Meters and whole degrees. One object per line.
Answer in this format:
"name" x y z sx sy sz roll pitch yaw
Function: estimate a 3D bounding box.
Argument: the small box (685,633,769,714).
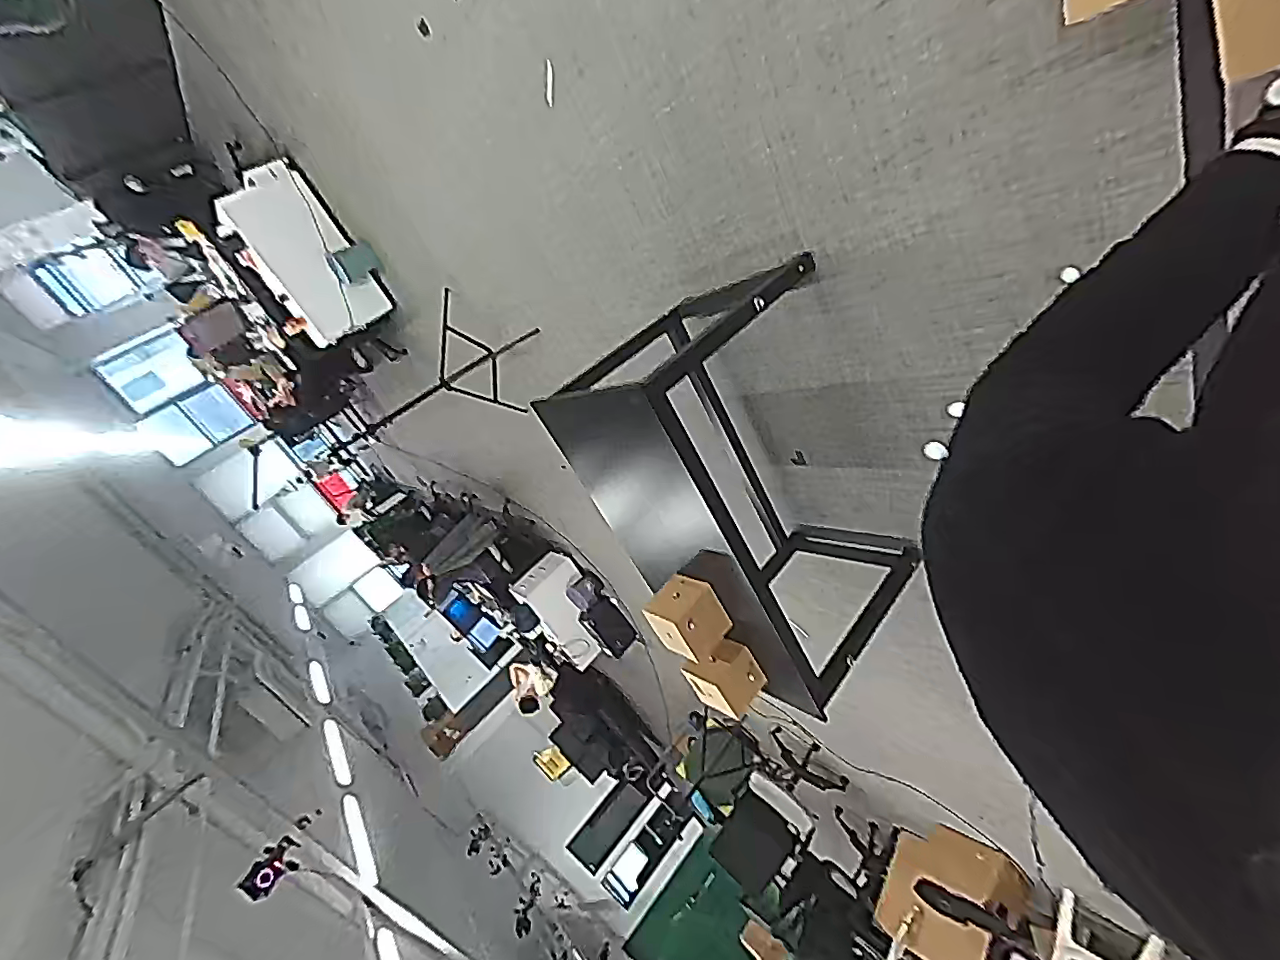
"small box" 0.289 0.622 1.776 0.179 0.176 0.168 2 129 56

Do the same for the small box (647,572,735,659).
"small box" 0.160 0.412 1.675 0.168 0.176 0.179 6 132 56
